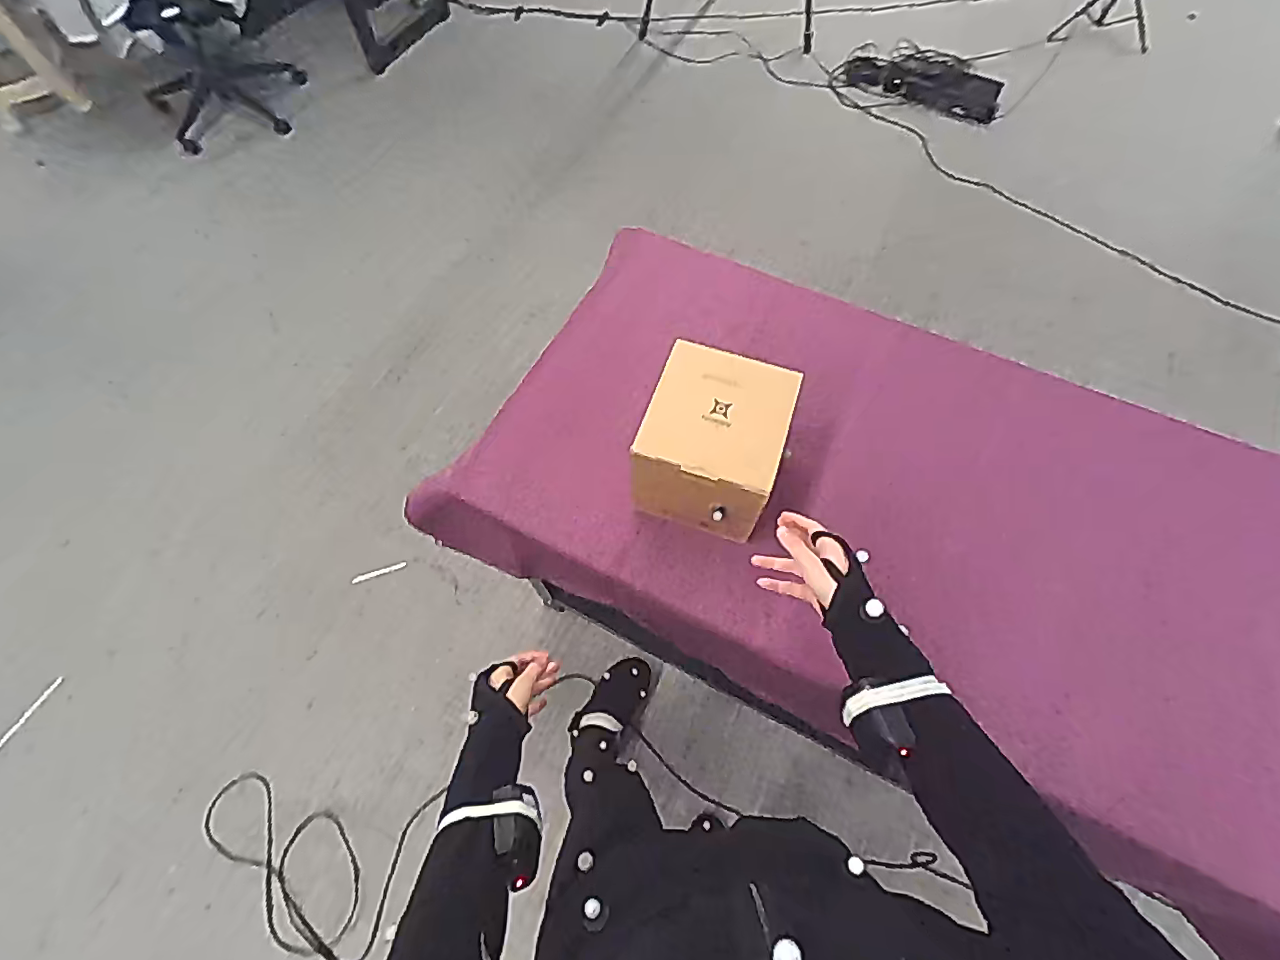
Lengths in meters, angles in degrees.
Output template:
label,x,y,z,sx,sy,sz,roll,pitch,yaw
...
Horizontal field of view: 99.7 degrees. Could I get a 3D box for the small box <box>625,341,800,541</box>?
label,x,y,z,sx,sy,sz,roll,pitch,yaw
small box,0.089,-0.043,0.706,0.168,0.176,0.179,19,64,8
